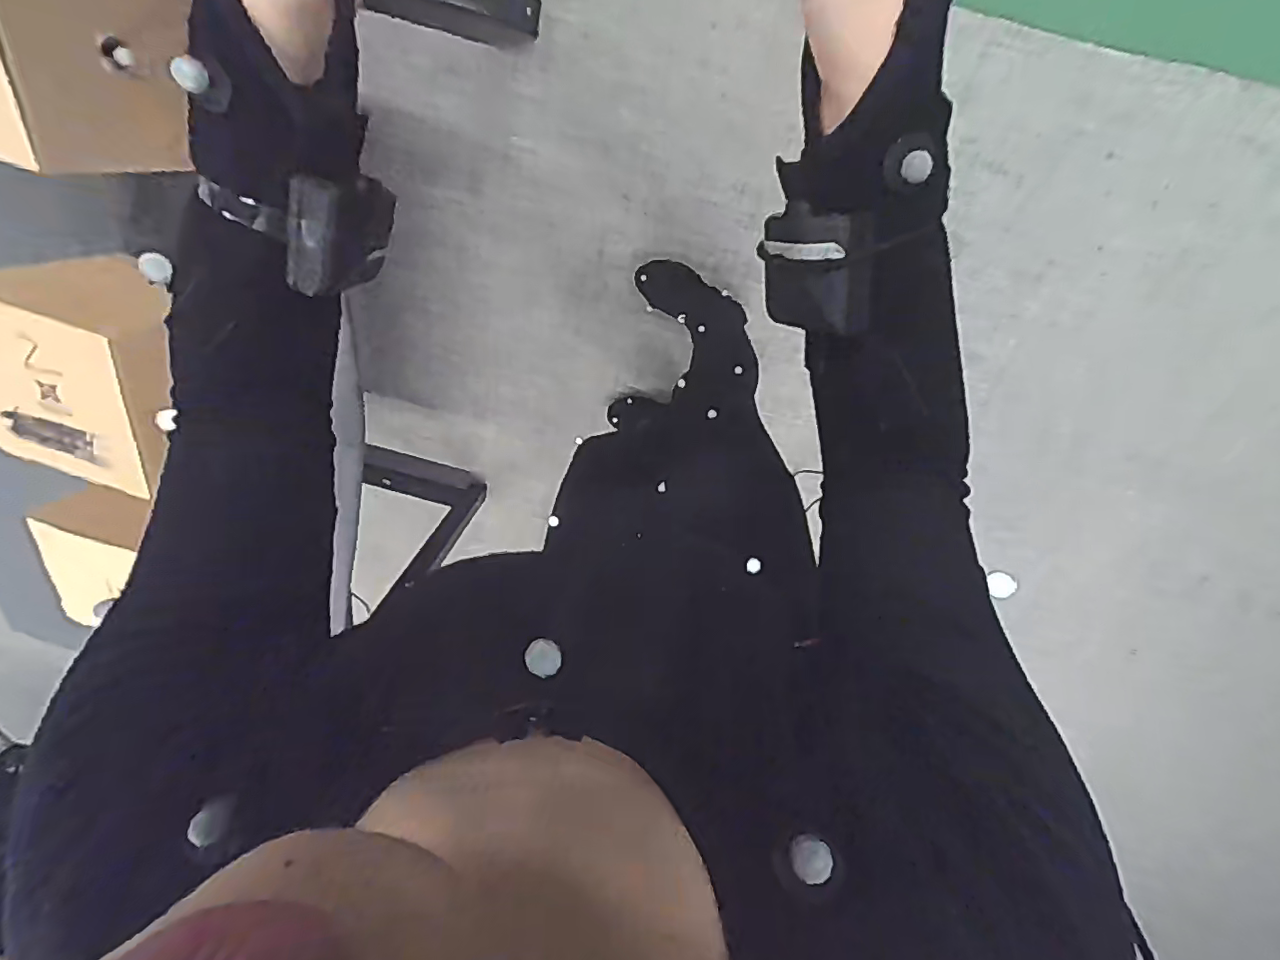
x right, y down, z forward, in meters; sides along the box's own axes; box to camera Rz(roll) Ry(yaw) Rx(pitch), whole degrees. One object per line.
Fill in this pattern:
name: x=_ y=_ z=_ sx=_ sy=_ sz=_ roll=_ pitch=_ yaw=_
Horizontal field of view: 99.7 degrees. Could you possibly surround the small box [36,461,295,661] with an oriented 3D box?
small box: x=-0.593 y=0.096 z=0.705 sx=0.179 sy=0.176 sz=0.168 roll=18 pitch=123 yaw=0
